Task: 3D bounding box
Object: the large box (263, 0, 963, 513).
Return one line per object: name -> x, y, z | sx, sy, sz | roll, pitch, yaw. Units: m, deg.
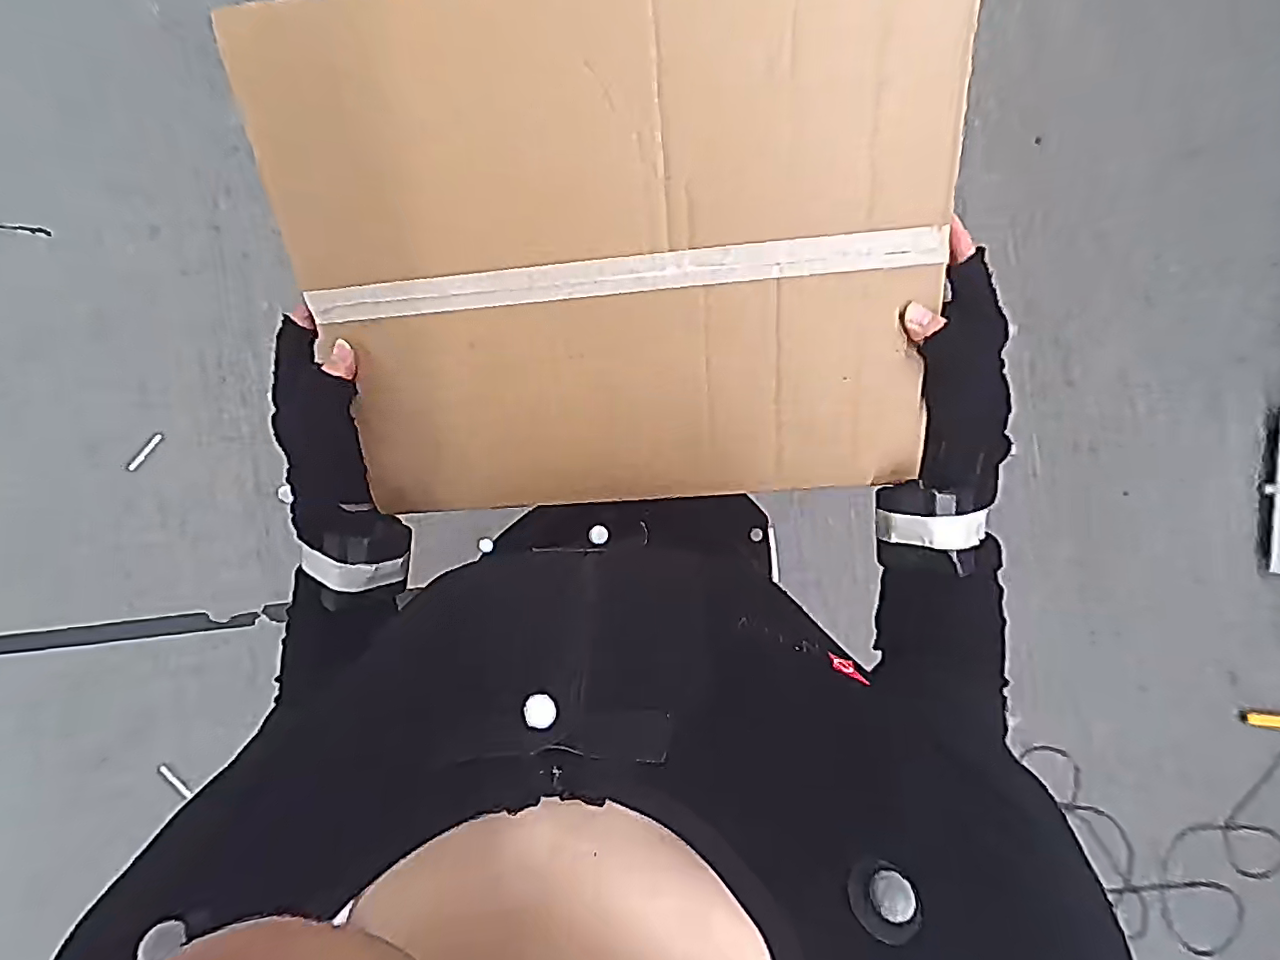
large box -> -0.005, -0.188, 0.492 | 0.408, 0.320, 0.320 | -4, 115, 5
